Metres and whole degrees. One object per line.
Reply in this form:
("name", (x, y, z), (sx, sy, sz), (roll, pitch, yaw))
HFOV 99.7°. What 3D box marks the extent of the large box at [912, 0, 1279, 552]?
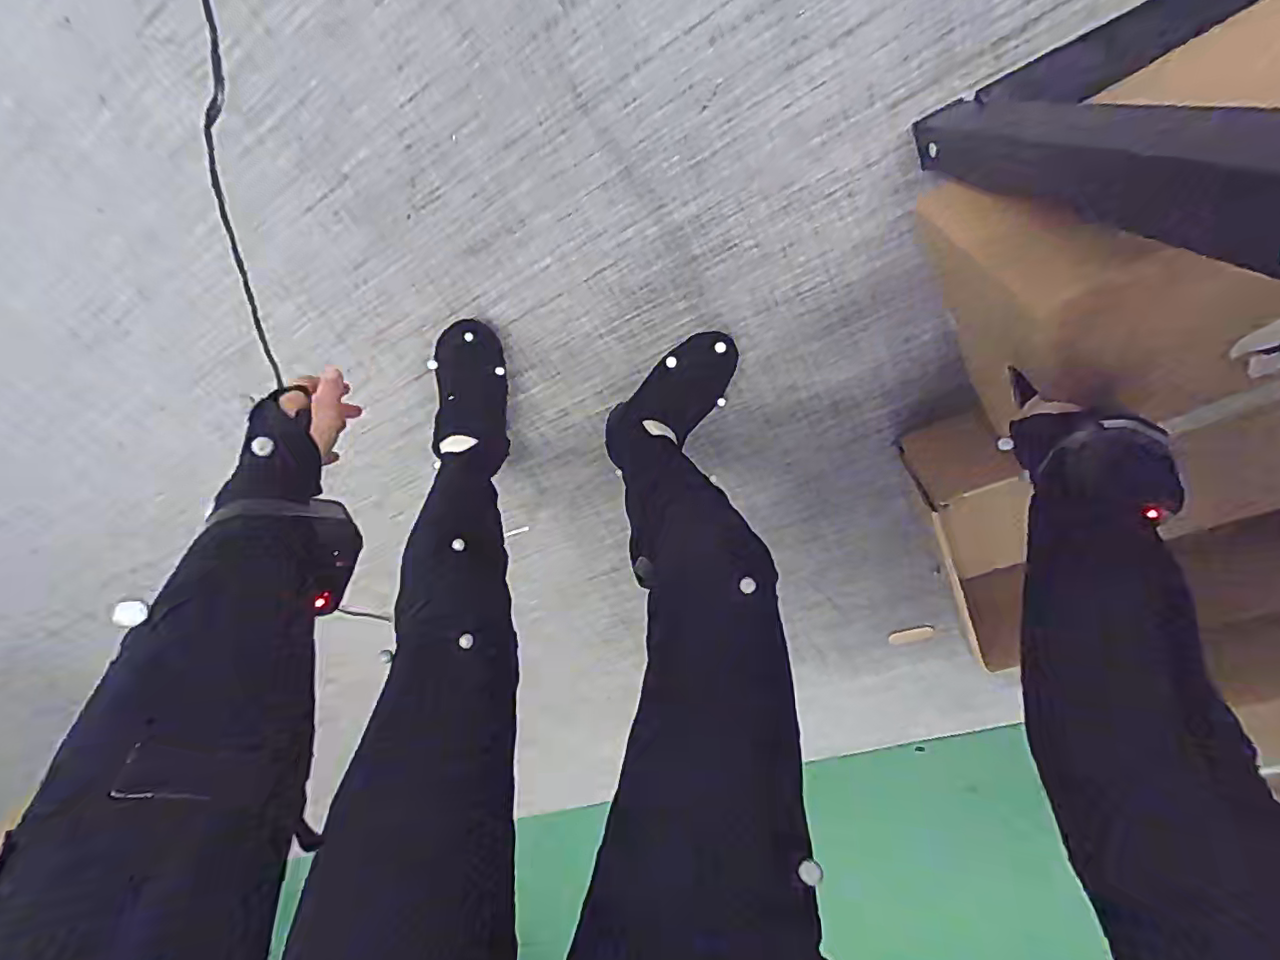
("large box", (0.541, -0.198, 0.501), (0.408, 0.320, 0.320), (-25, 122, 26))
